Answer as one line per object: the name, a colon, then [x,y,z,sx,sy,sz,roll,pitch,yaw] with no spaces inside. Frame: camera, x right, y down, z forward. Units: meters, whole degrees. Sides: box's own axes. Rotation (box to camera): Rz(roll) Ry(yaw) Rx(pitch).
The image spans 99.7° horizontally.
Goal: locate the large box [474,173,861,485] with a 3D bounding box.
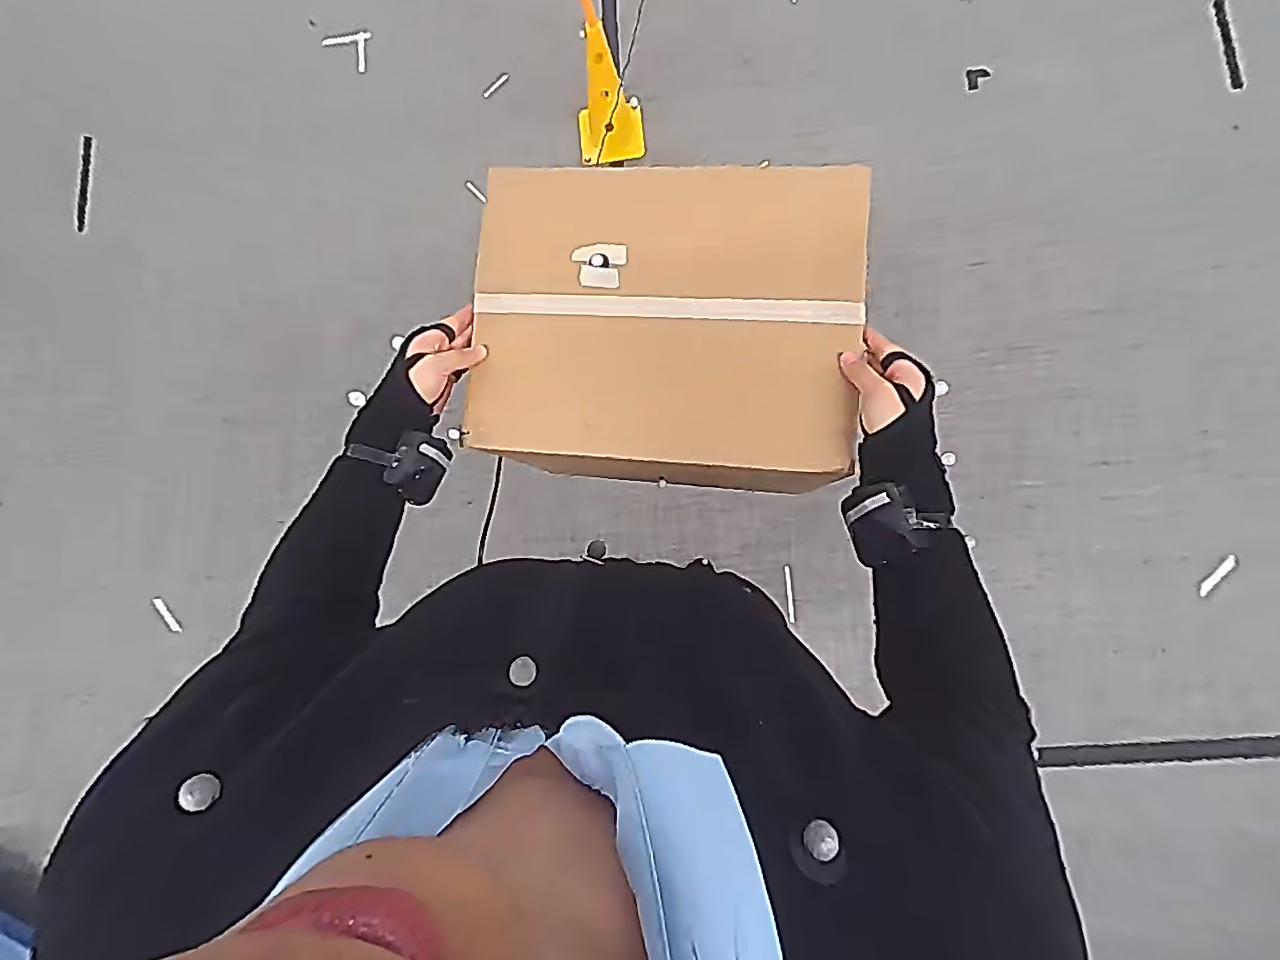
large box: [0.045,-0.163,0.720,0.408,0.320,0.320,4,85,8]
